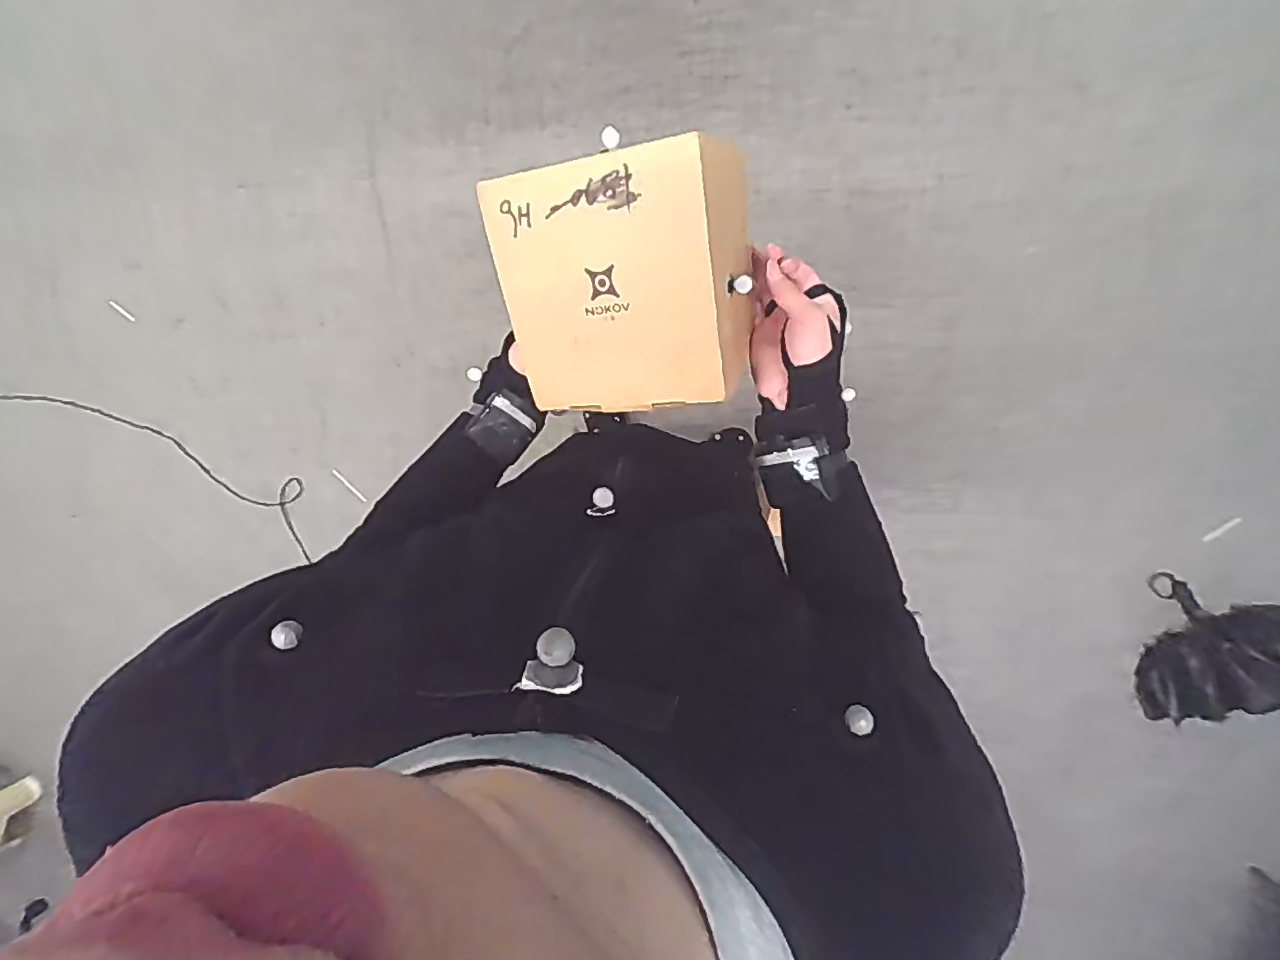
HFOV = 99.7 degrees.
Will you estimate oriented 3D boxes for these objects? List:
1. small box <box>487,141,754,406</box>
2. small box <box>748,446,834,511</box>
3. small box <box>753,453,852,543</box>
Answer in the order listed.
[{"bbox_3d":[0.003,-0.178,0.468,0.168,0.176,0.179,1,121,20],"label":"small box"},{"bbox_3d":[0.398,0.007,1.456,0.179,0.176,0.168,12,100,5],"label":"small box"},{"bbox_3d":[0.380,0.036,1.295,0.179,0.176,0.168,13,100,5],"label":"small box"}]
